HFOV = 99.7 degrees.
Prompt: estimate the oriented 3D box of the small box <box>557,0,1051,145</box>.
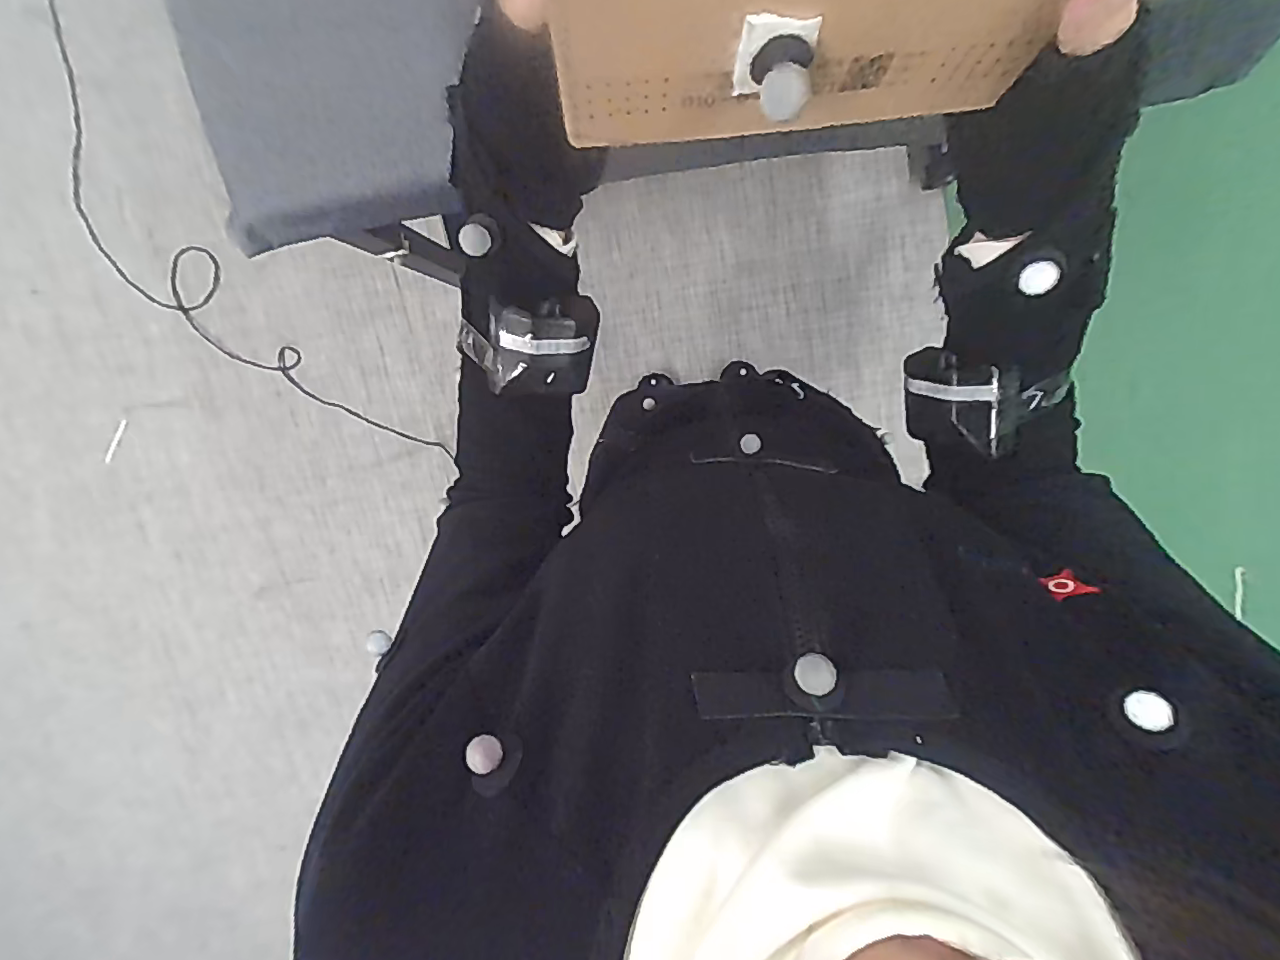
[{"bbox_3d":[0.045,-0.232,0.141,0.168,0.176,0.179,-8,87,0],"label":"small box"}]
